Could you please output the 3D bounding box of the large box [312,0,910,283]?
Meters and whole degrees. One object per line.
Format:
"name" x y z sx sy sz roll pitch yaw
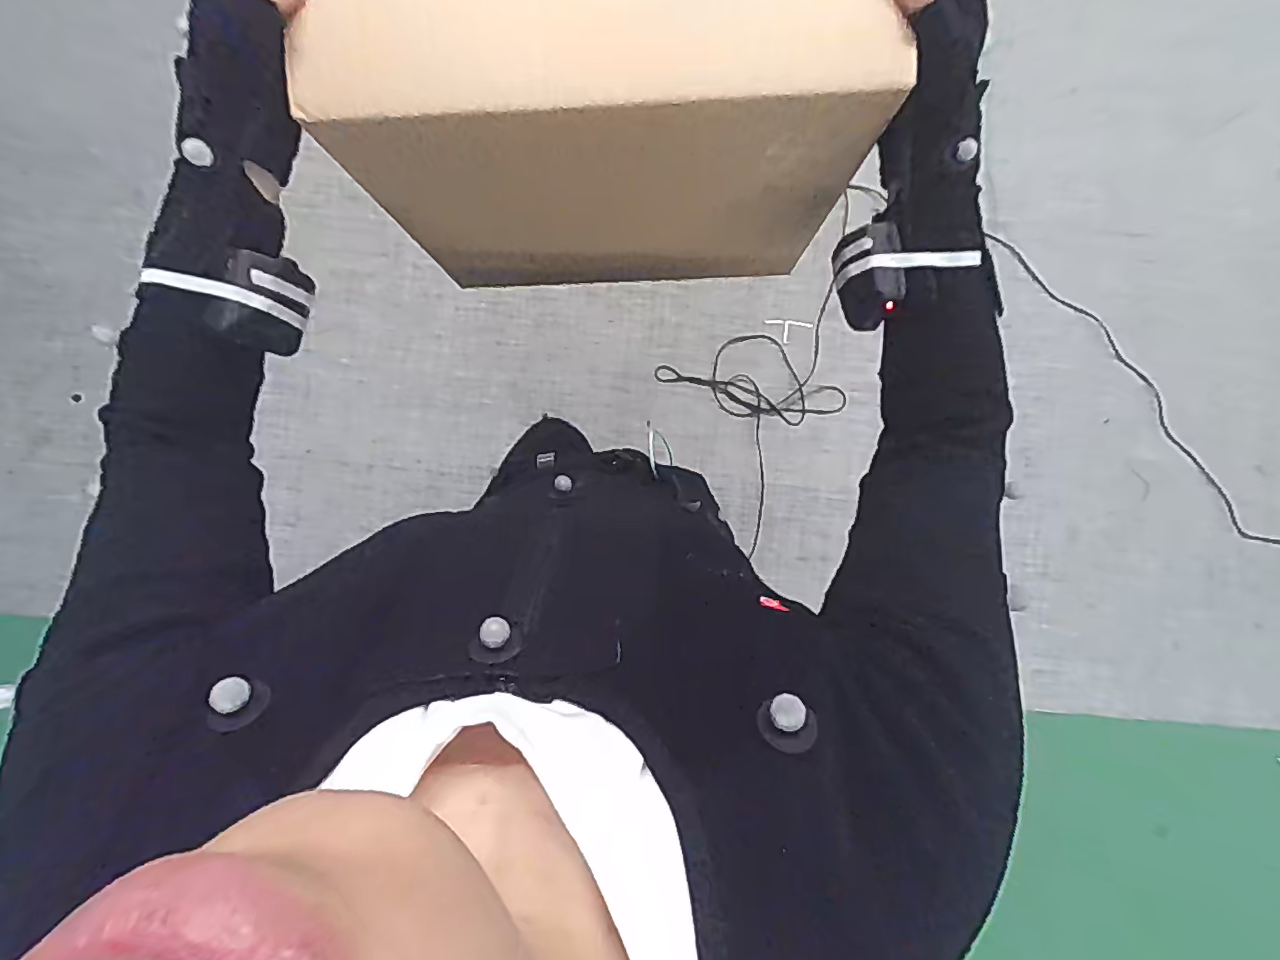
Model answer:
"large box" -0.026 -0.402 0.512 0.408 0.320 0.320 -3 90 0
